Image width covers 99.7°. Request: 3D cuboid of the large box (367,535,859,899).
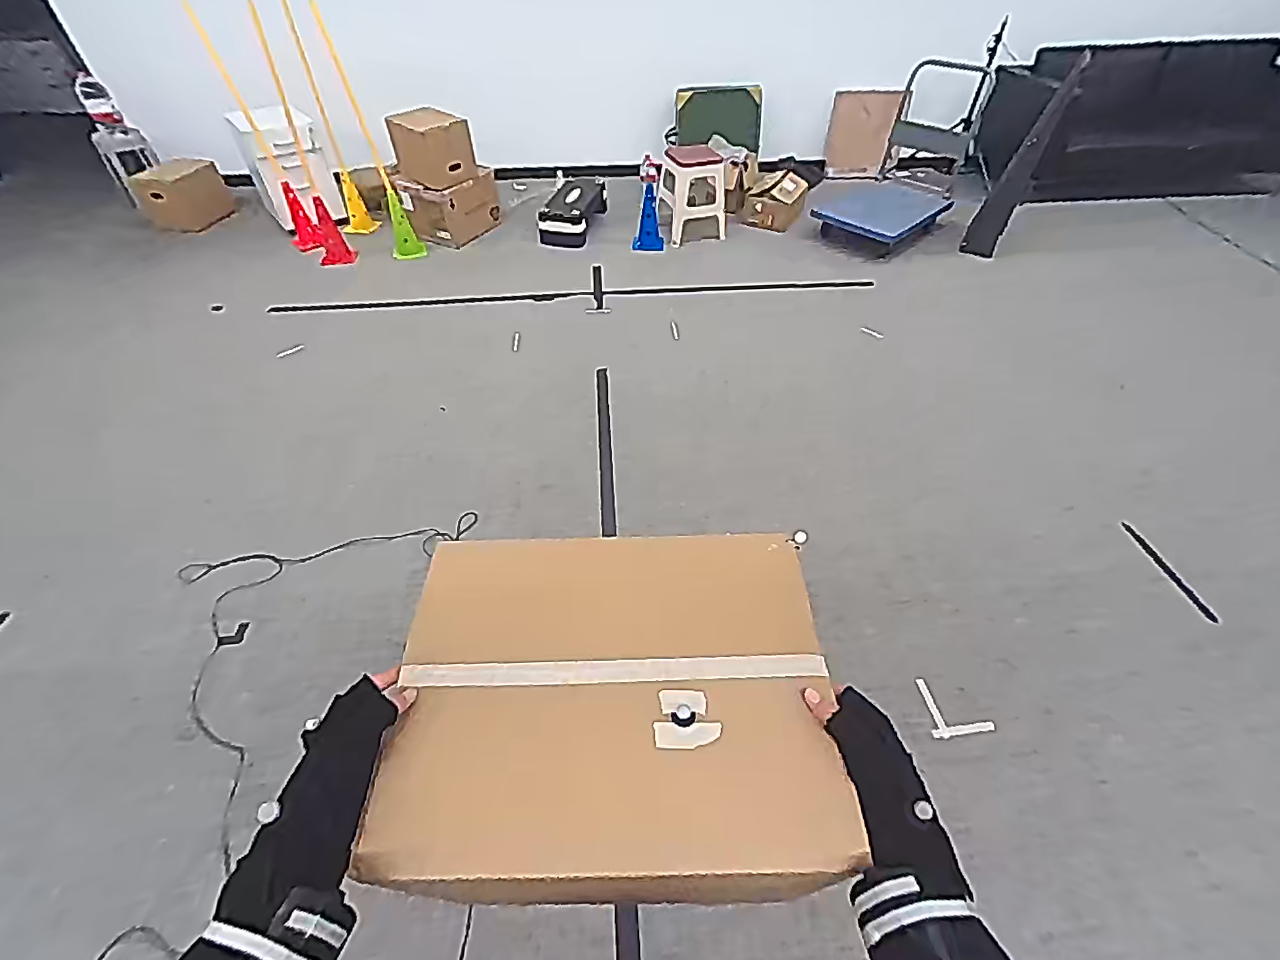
[{"bbox_3d":[-0.022,0.282,0.637,0.408,0.320,0.320,-1,49,1],"label":"large box"}]
